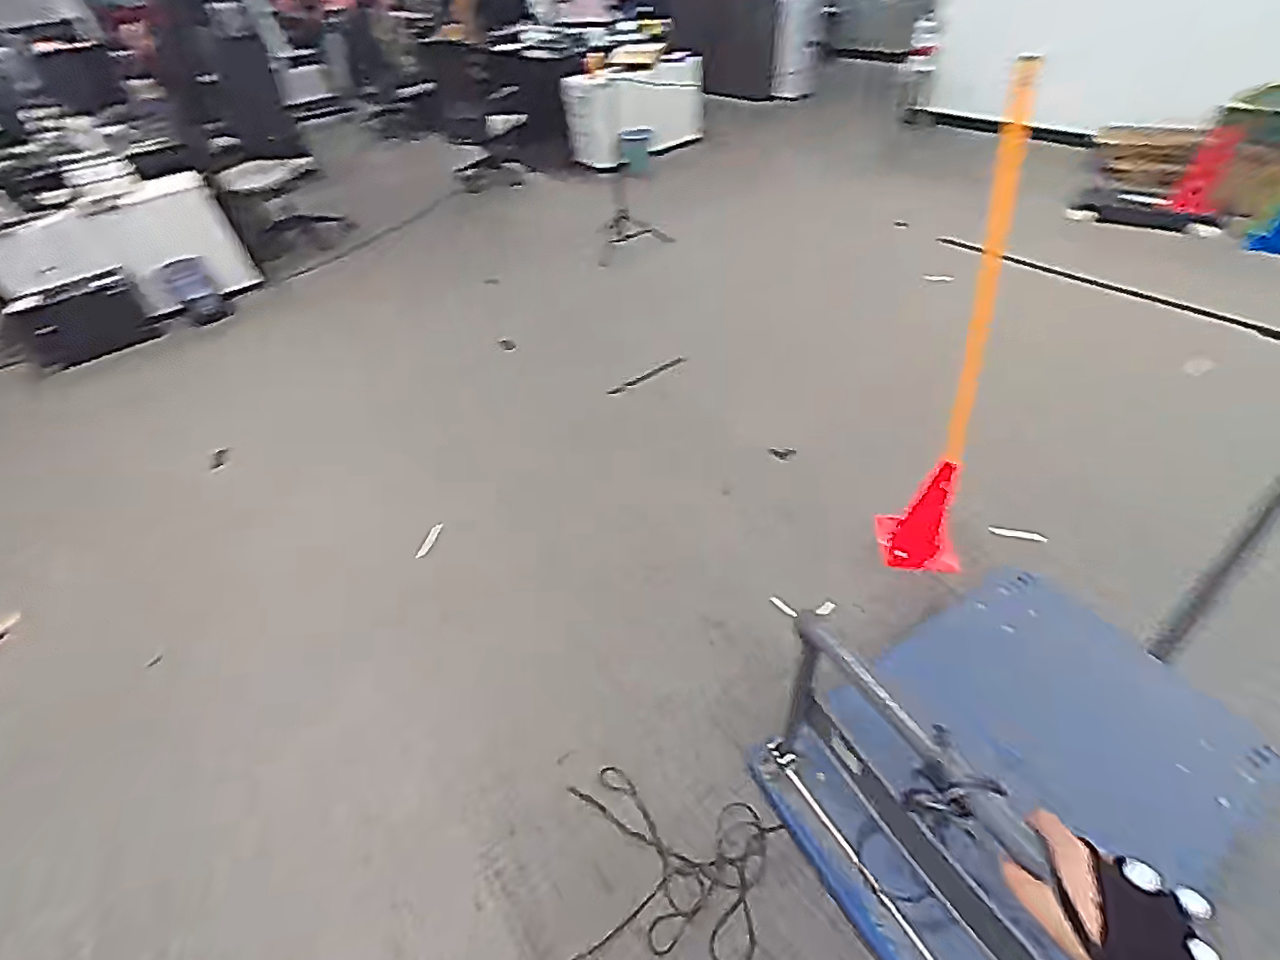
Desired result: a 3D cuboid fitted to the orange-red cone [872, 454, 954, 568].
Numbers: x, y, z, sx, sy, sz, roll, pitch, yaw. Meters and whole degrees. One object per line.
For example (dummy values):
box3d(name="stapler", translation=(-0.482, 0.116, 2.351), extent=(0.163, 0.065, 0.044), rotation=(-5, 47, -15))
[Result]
box3d(name="orange-red cone", translation=(0.805, 0.064, 1.519), extent=(0.199, 0.360, 0.198), rotation=(3, 47, 8))
